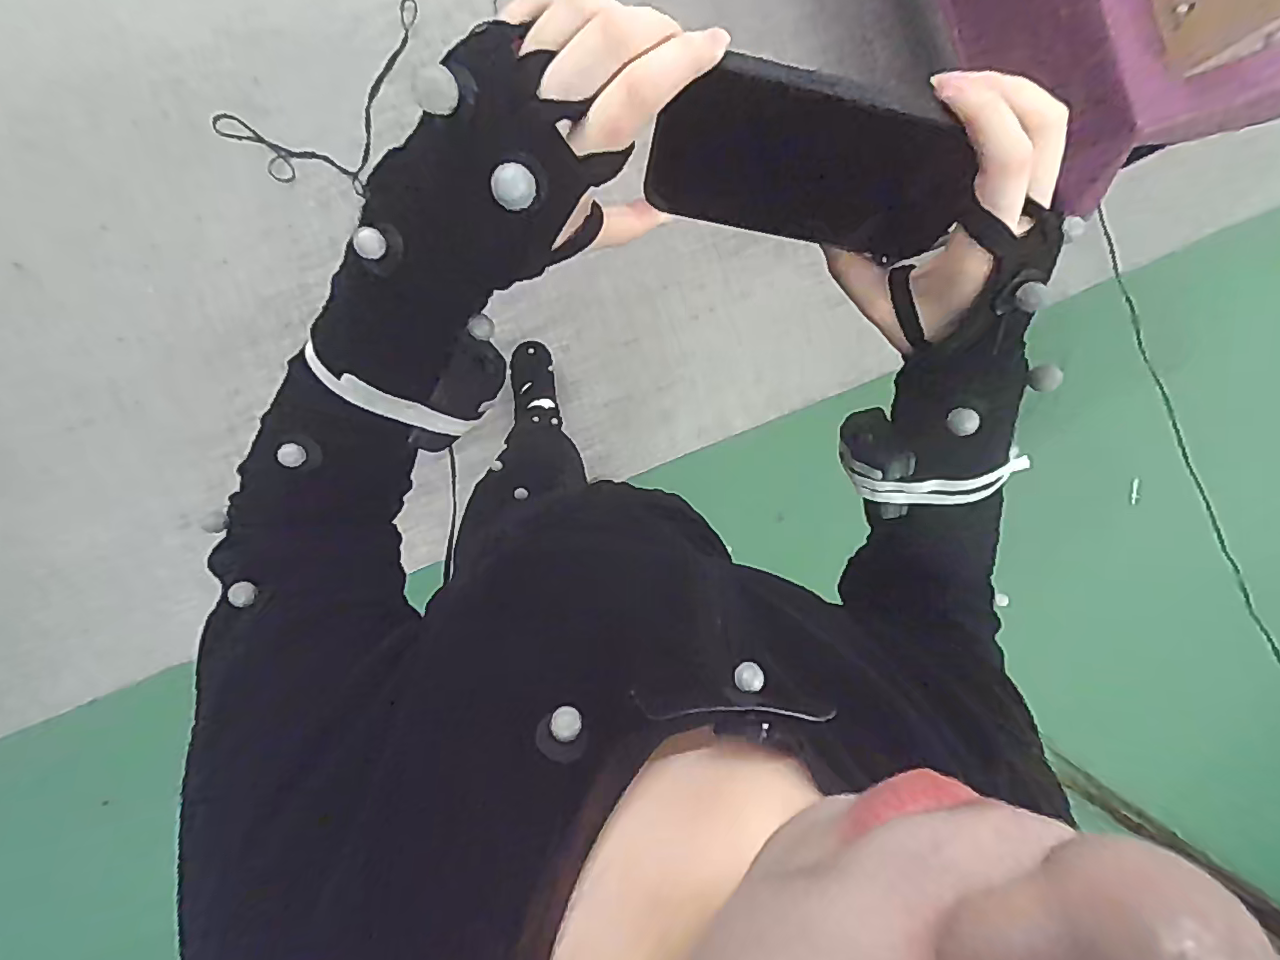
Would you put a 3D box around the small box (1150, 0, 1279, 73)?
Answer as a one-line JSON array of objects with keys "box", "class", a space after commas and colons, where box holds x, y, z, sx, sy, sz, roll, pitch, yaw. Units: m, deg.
[{"box": [0.920, -0.751, 0.804, 0.168, 0.176, 0.179, -23, 96, -9], "class": "small box"}]
